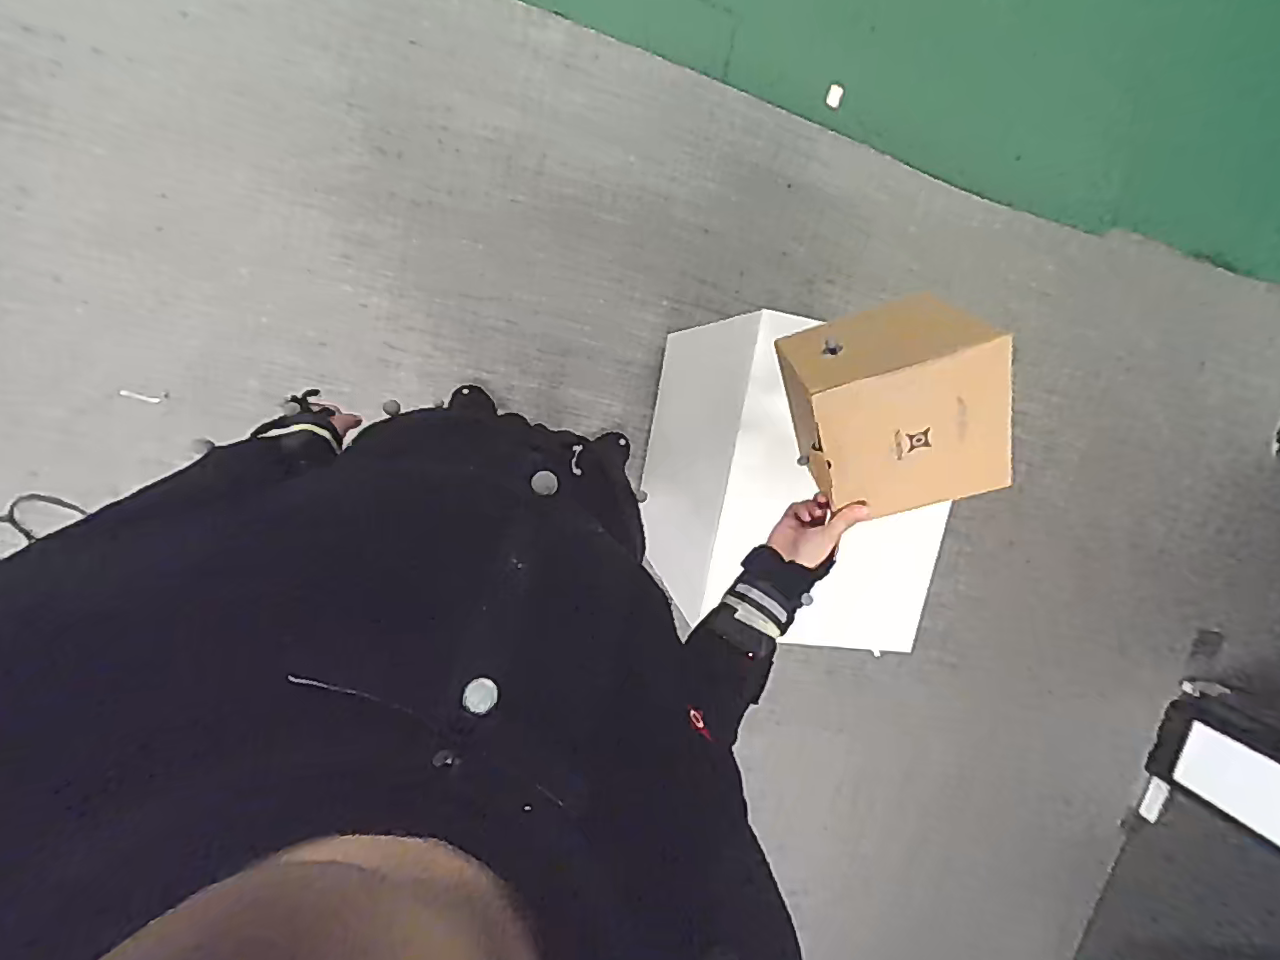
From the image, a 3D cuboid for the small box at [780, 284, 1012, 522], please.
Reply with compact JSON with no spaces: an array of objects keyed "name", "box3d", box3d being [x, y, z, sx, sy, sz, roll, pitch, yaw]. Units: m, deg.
[{"name":"small box","box3d":[0.259,-0.087,0.578,0.179,0.176,0.168,-18,121,10]}]
